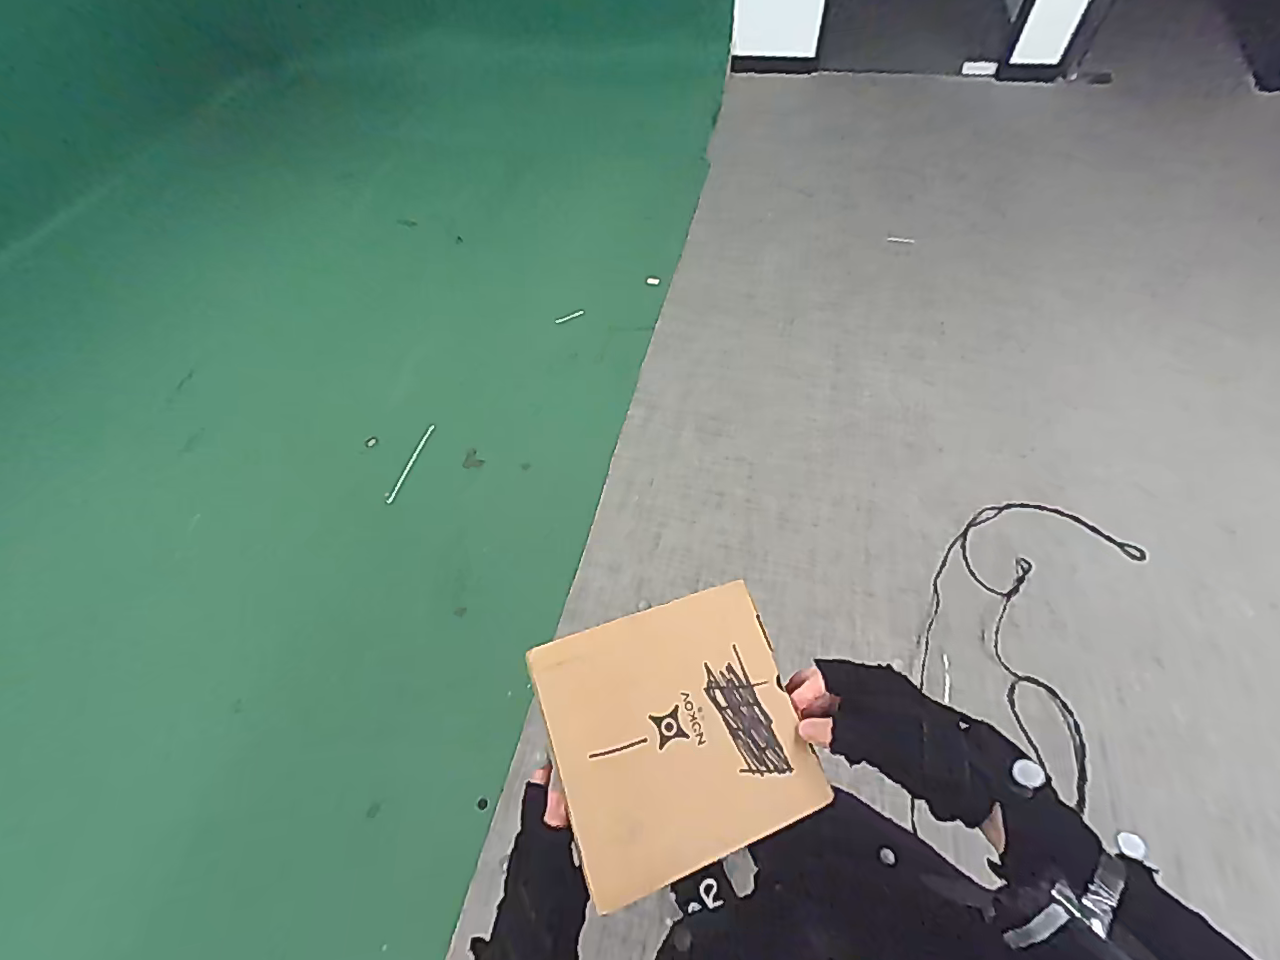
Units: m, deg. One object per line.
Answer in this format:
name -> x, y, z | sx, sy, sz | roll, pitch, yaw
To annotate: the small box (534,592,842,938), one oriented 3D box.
small box -> 0.018, 0.206, 0.436 | 0.179, 0.176, 0.168 | -15, 70, -16
